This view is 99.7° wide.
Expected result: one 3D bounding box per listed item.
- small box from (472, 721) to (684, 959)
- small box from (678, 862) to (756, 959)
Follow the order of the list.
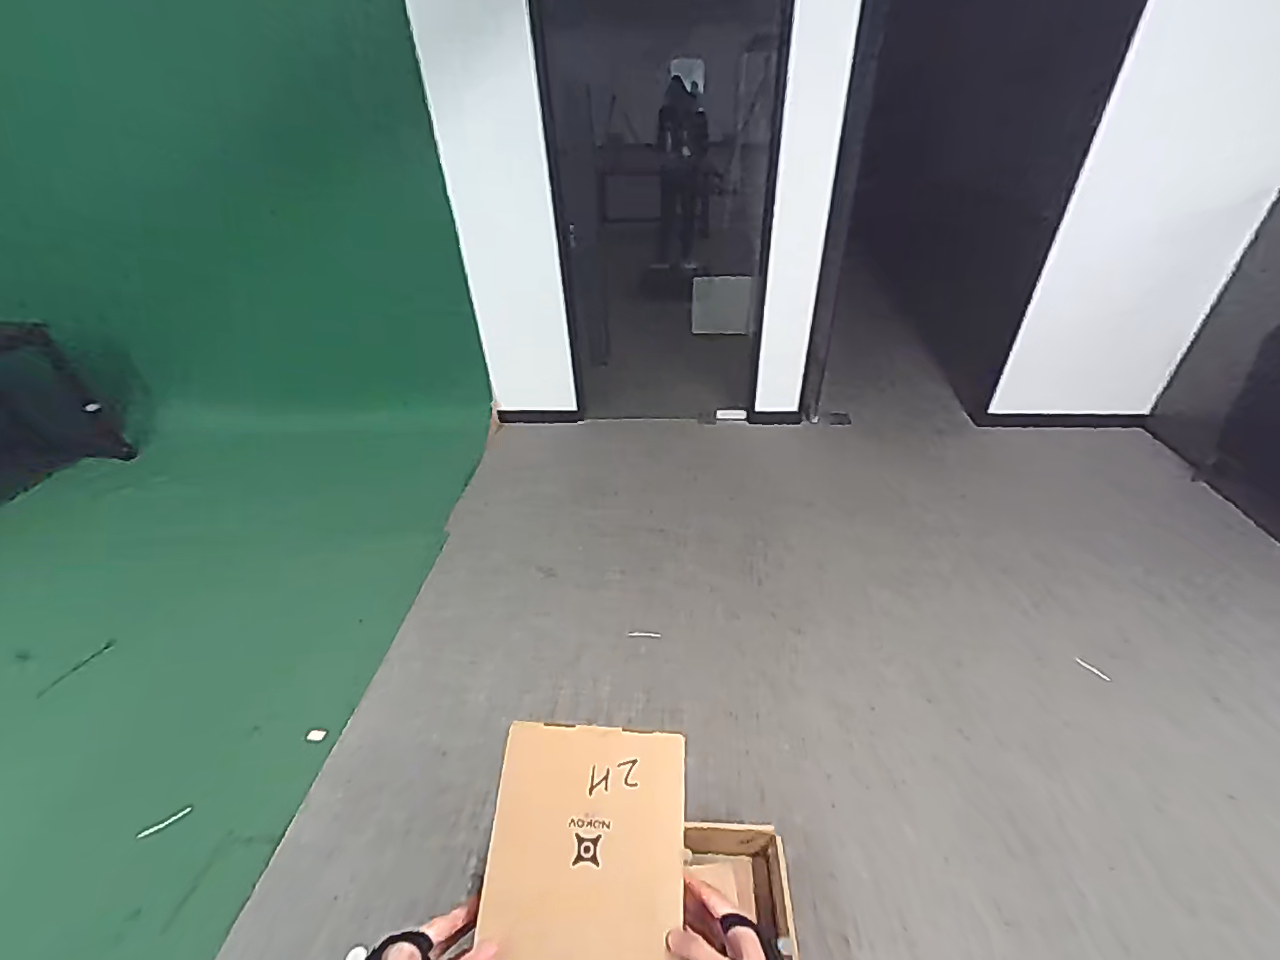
[{"bbox_3d":[-0.054,0.349,0.531,0.168,0.176,0.179,7,57,-5],"label":"small box"},{"bbox_3d":[0.135,0.920,1.117,0.179,0.176,0.168,-4,37,0],"label":"small box"}]
